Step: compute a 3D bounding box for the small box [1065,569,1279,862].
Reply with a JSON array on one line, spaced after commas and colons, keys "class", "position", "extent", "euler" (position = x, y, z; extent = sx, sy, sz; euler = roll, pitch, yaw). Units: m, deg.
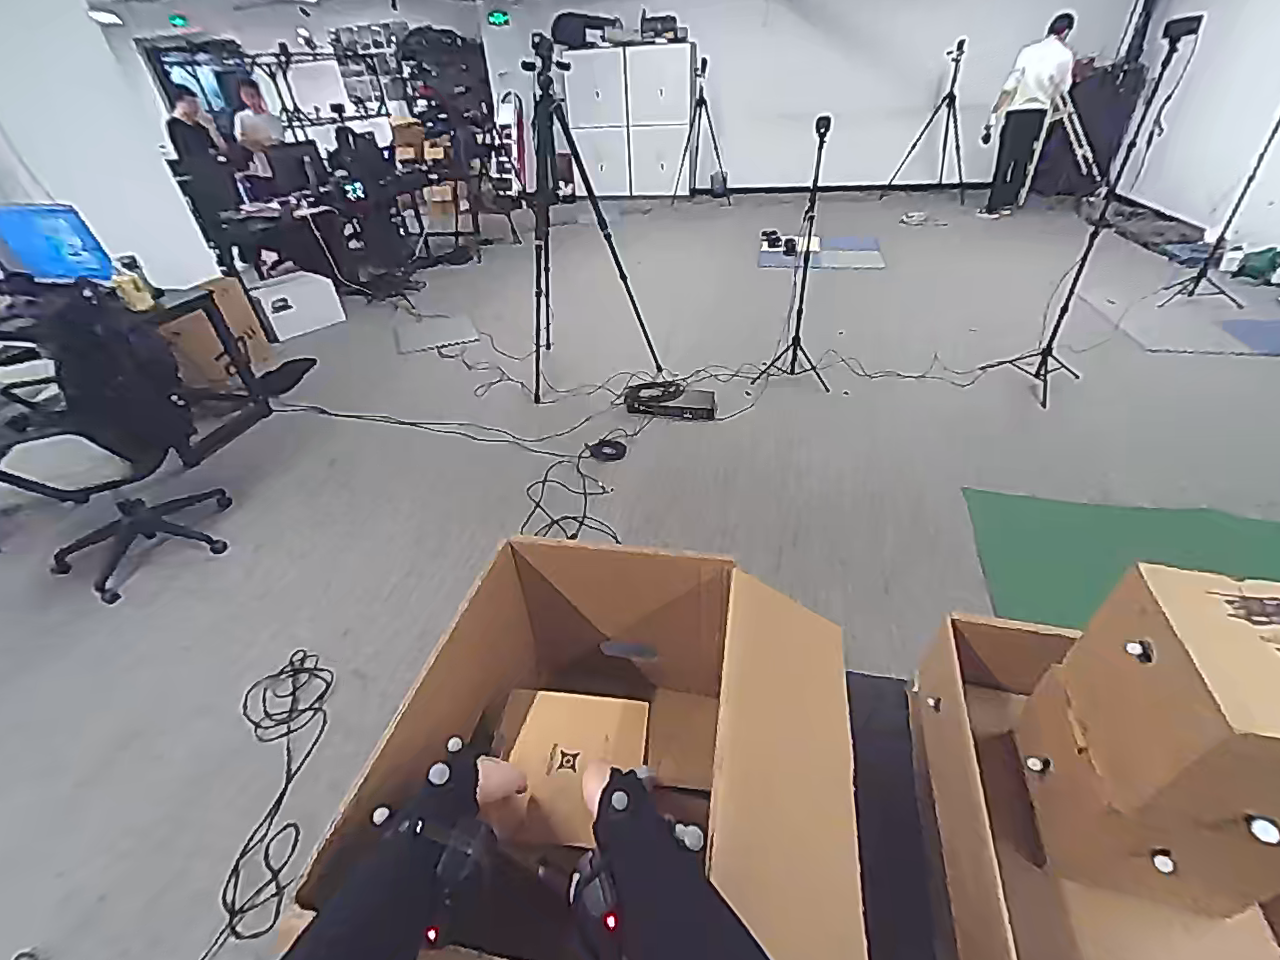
[{"class": "small box", "position": [0.540, 0.213, 0.500], "extent": [0.168, 0.176, 0.179], "euler": [7, 40, 14]}]
